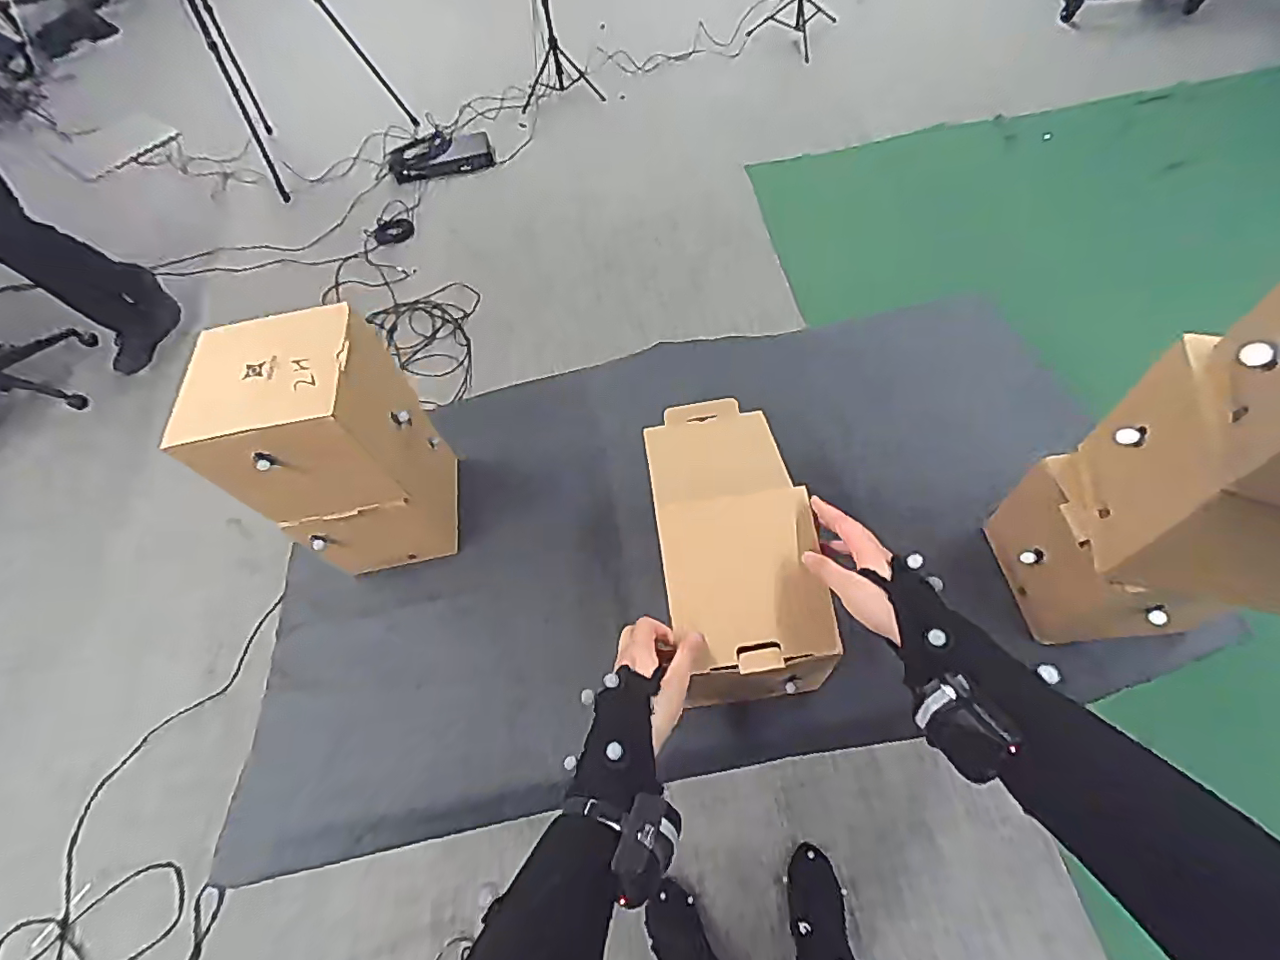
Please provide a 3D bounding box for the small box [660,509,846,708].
[{"bbox_3d":[0.120,0.158,0.632,0.168,0.176,0.179,-8,56,1],"label":"small box"}]

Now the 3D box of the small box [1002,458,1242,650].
[{"bbox_3d":[0.551,0.085,0.614,0.179,0.176,0.168,-7,56,4],"label":"small box"}]

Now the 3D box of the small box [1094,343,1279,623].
[{"bbox_3d":[0.537,0.009,0.470,0.179,0.176,0.168,12,59,15],"label":"small box"}]

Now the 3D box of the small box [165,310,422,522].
[{"bbox_3d":[-0.381,-0.066,0.633,0.179,0.176,0.168,-11,60,0],"label":"small box"}]
